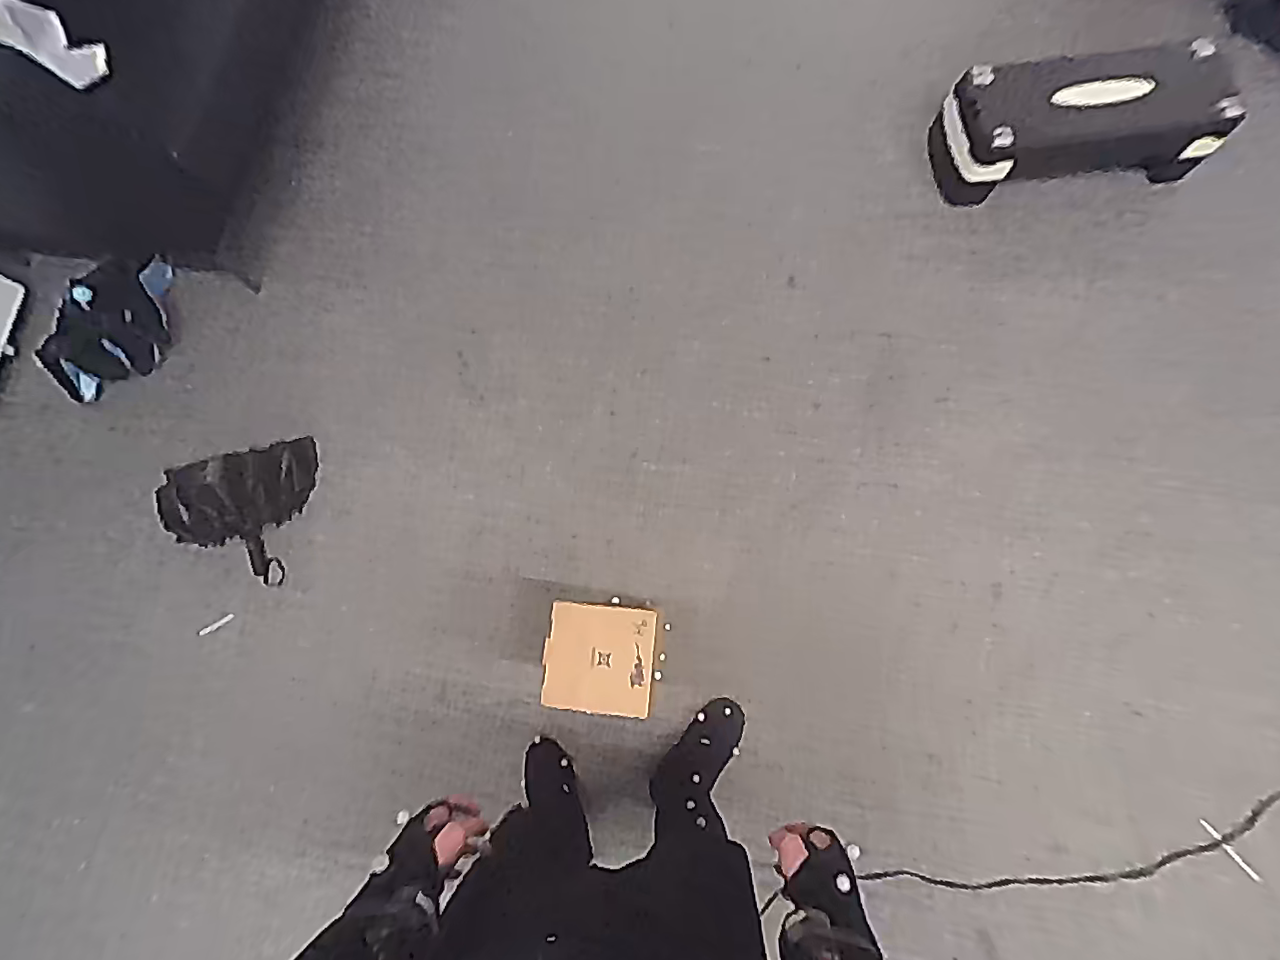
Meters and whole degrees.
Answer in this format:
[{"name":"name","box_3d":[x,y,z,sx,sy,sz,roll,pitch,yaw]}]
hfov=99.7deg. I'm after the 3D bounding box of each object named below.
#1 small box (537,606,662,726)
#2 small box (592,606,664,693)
[{"name":"small box","box_3d":[-0.061,0.317,0.942,0.179,0.176,0.168,5,75,7]},{"name":"small box","box_3d":[-0.032,0.391,1.261,0.168,0.176,0.179,3,77,6]}]
